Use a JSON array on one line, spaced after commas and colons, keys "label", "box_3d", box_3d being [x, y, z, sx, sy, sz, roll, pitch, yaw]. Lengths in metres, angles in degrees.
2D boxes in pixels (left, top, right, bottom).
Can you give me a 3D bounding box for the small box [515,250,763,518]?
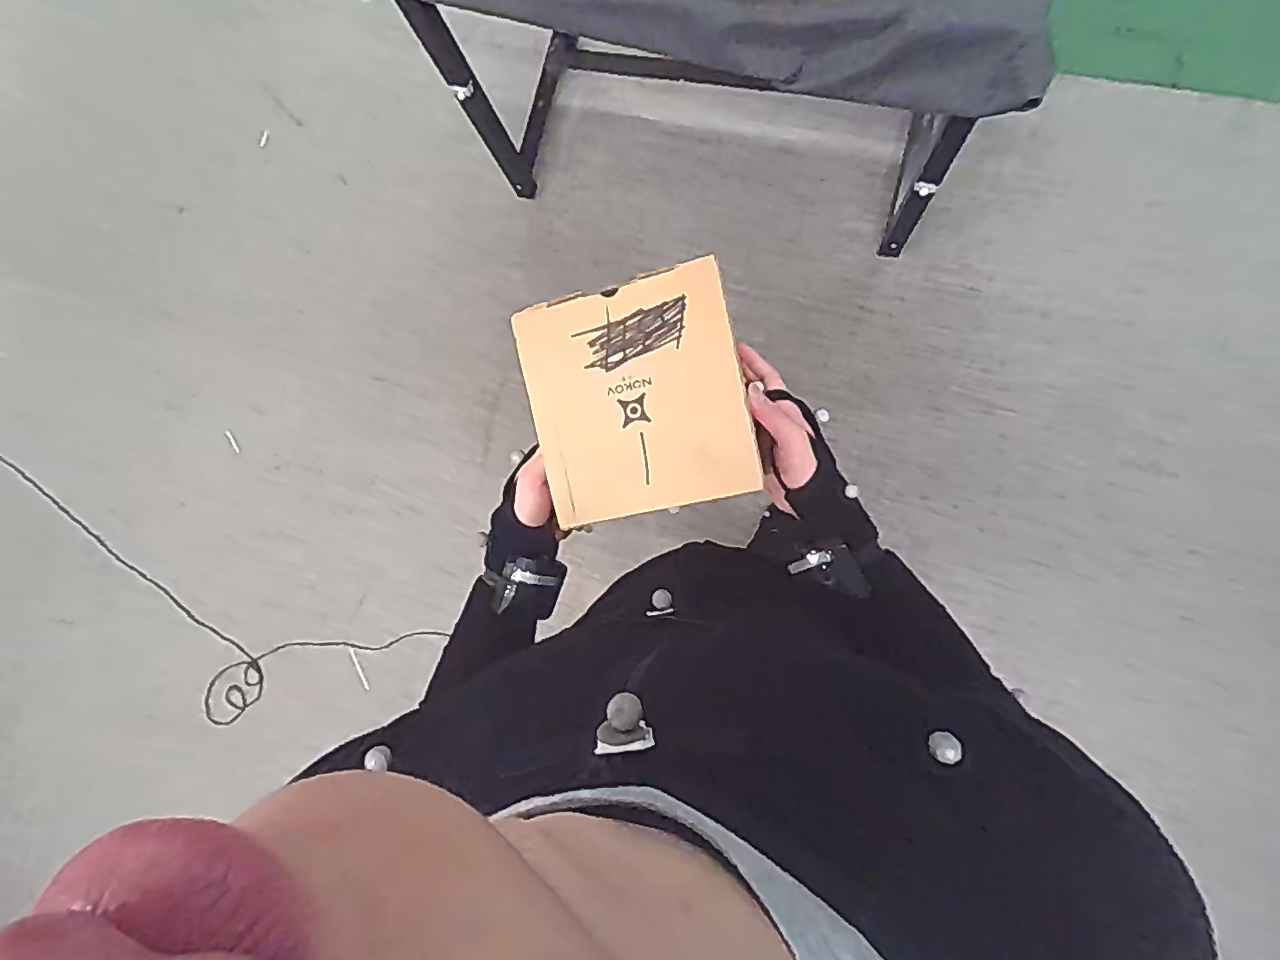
[{"label": "small box", "box_3d": [0.012, -0.075, 0.487, 0.168, 0.176, 0.179, -11, 94, 13]}]
